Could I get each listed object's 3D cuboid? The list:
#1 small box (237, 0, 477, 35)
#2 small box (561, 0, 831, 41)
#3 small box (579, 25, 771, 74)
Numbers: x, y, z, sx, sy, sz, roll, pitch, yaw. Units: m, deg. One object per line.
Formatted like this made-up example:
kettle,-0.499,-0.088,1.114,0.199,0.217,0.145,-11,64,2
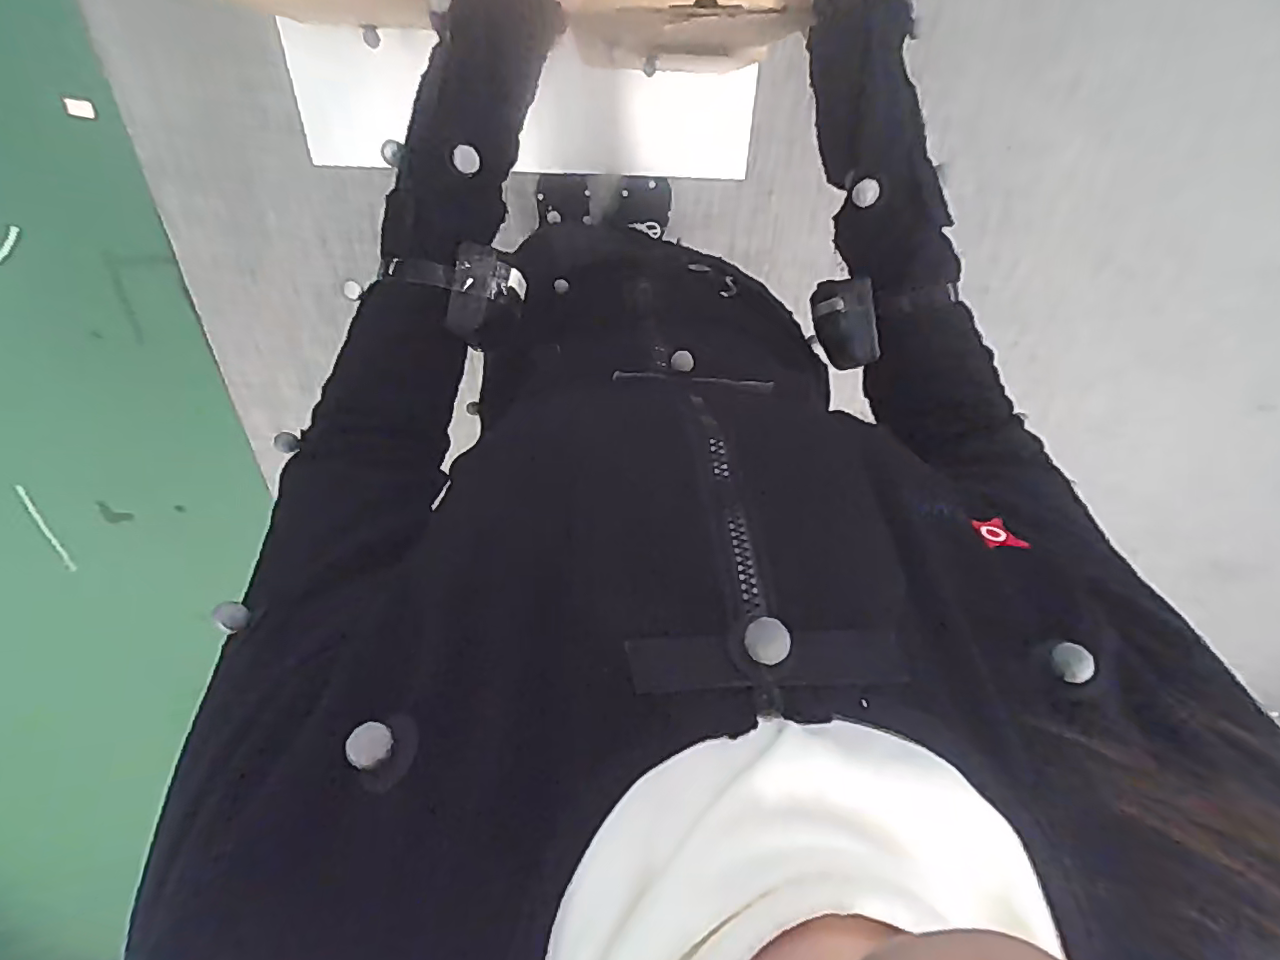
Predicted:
small box,-0.247,-0.499,0.456,0.168,0.176,0.179,-2,125,-2
small box,0.032,-0.395,0.340,0.168,0.176,0.179,-2,123,-2
small box,0.029,-0.482,0.481,0.168,0.176,0.179,0,124,-3
